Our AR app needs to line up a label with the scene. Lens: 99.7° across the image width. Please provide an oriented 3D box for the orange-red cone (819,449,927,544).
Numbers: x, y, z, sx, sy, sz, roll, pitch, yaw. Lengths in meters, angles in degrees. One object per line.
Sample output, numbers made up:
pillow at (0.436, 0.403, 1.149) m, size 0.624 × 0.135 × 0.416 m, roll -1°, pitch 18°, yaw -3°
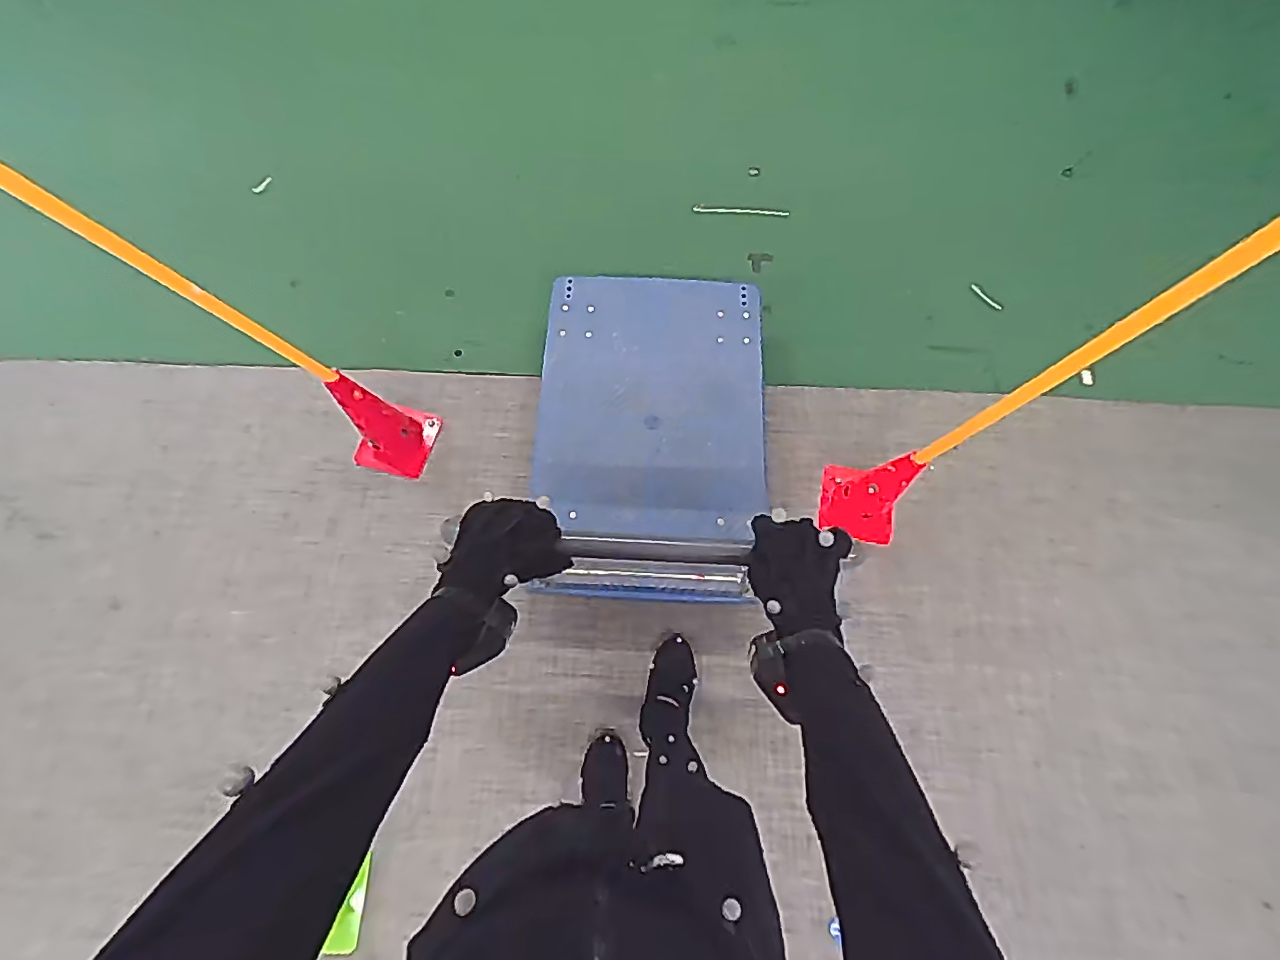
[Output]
orange-red cone at (0.595, 0.009, 1.313) m, size 0.198 × 0.360 × 0.199 m, roll 13°, pitch 72°, yaw 4°
